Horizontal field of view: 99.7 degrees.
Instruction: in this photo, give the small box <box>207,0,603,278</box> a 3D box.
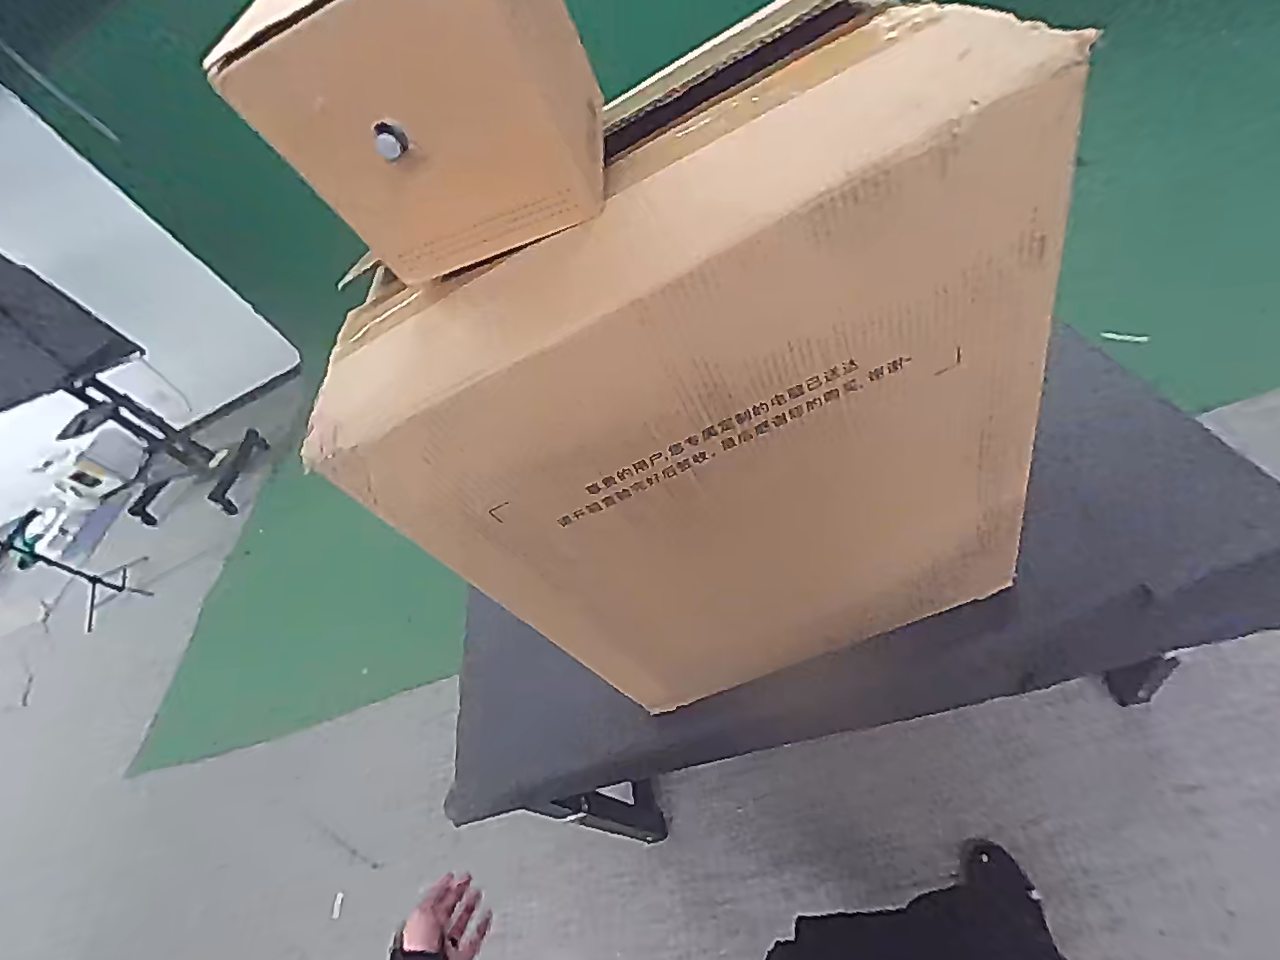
[{"bbox_3d":[-0.142,-0.278,0.387,0.179,0.176,0.168,-13,60,18],"label":"small box"}]
